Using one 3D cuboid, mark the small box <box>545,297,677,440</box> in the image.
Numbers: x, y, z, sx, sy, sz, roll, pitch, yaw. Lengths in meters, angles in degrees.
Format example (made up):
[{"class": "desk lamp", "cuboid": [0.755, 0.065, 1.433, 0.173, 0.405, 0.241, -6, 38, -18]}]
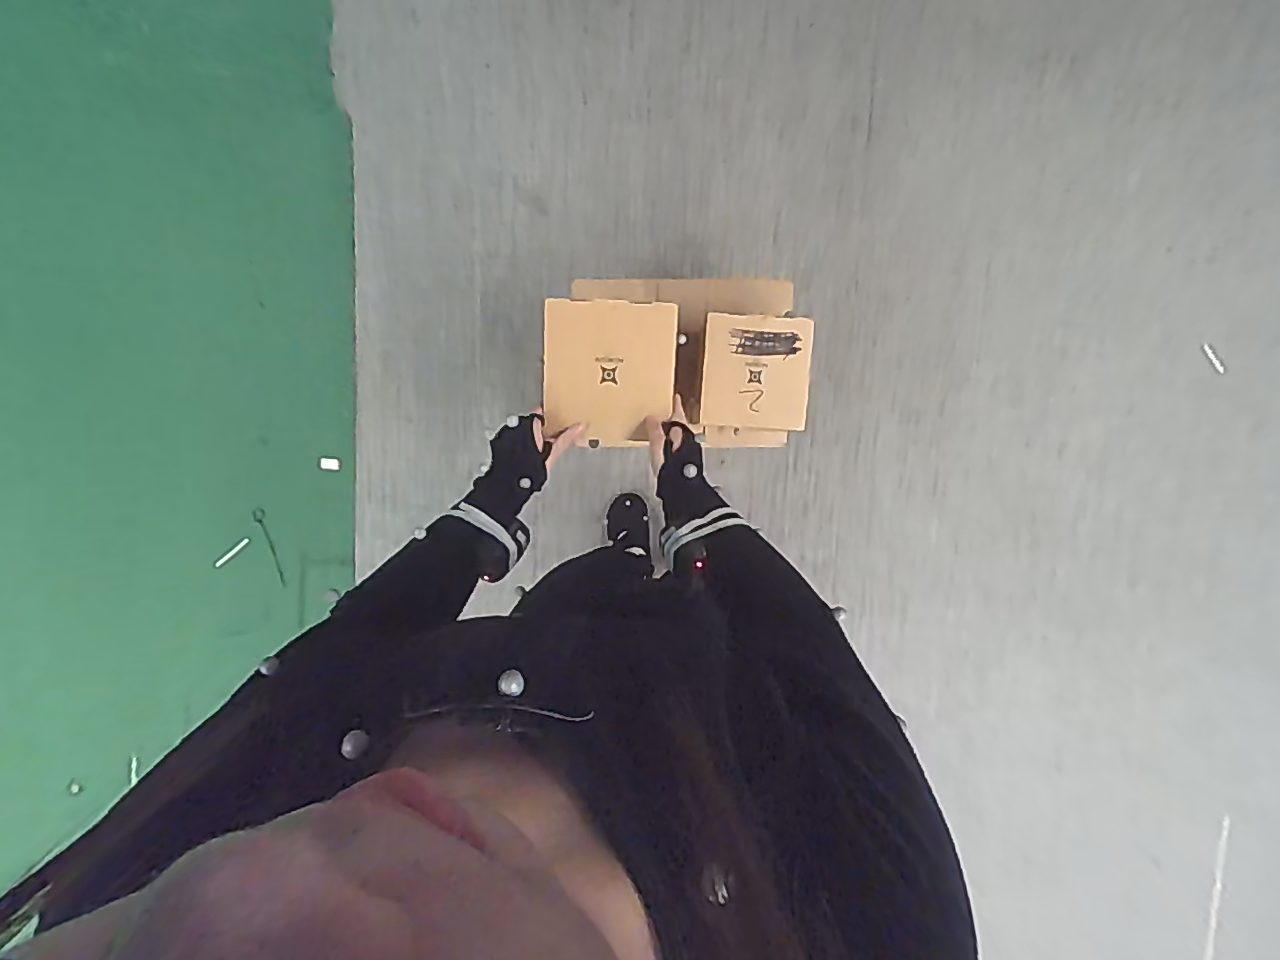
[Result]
[{"class": "small box", "cuboid": [-0.038, -0.153, 0.771, 0.168, 0.176, 0.179, 2, 98, -1]}]
